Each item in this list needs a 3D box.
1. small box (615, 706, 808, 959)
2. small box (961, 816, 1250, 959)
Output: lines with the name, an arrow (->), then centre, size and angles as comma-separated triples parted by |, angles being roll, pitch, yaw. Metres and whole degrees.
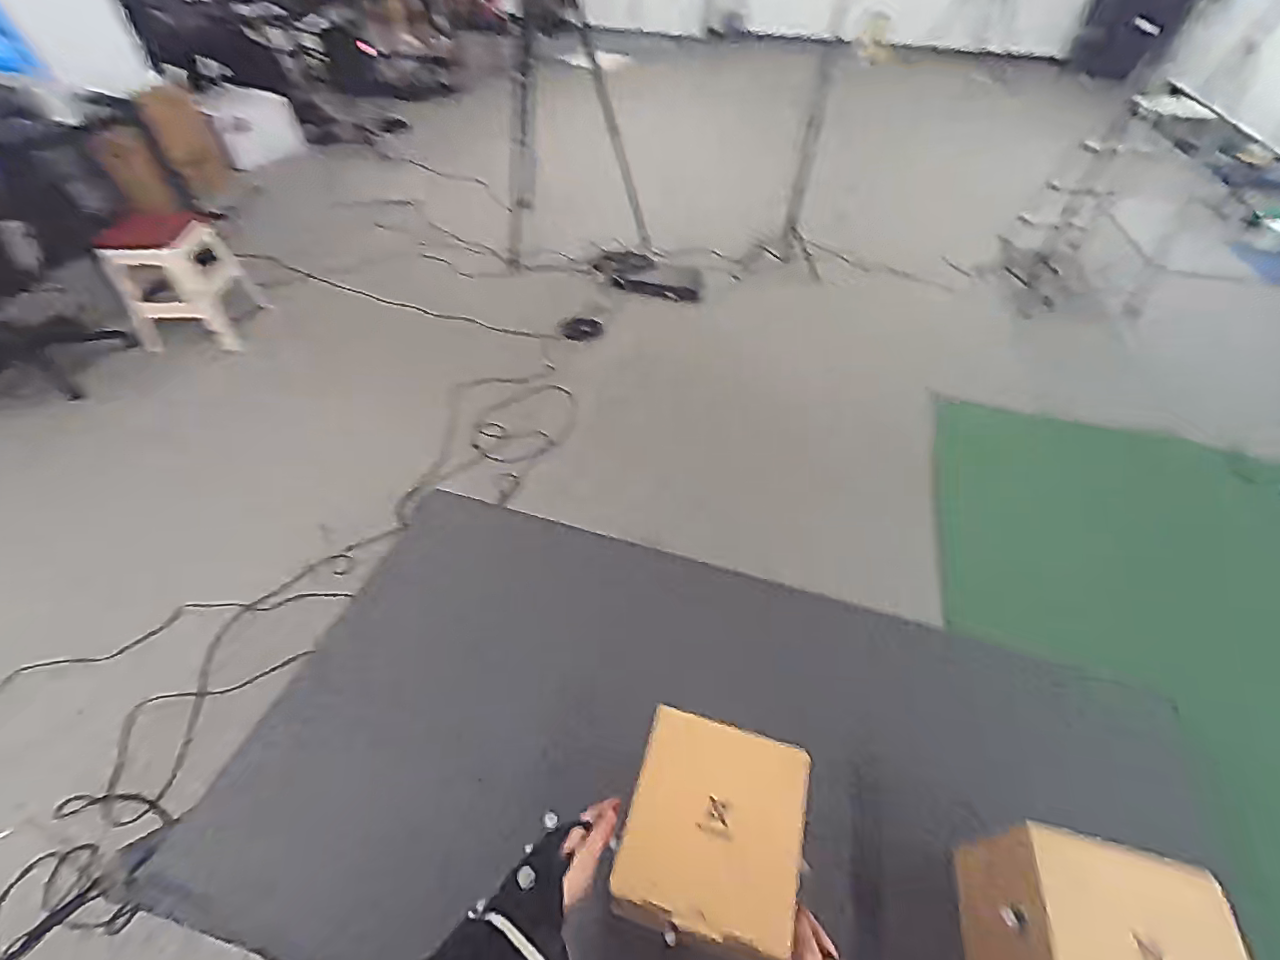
small box -> 0.073, 0.385, 0.592 | 0.168, 0.176, 0.179 | 15, 48, 9
small box -> 0.438, 0.463, 0.524 | 0.168, 0.176, 0.179 | 11, 49, 10
